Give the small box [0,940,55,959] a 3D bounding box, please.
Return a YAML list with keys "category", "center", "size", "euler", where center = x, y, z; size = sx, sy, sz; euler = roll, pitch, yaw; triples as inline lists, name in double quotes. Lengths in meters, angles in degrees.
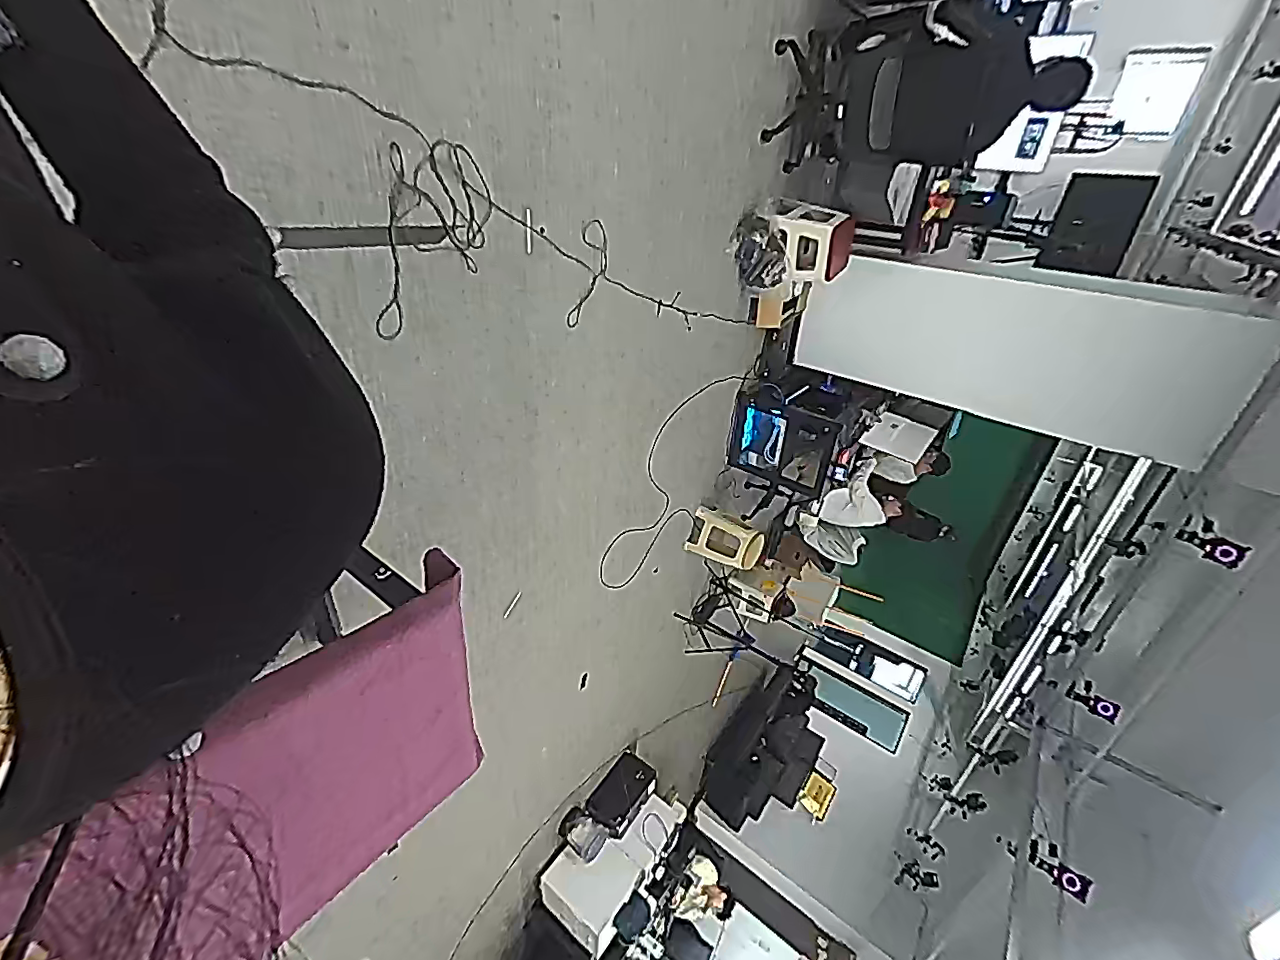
- category: "small box"
  center: [-0.811, 0.725, 0.661]
  size: [0.168, 0.176, 0.179]
  euler: [-31, 136, -46]
